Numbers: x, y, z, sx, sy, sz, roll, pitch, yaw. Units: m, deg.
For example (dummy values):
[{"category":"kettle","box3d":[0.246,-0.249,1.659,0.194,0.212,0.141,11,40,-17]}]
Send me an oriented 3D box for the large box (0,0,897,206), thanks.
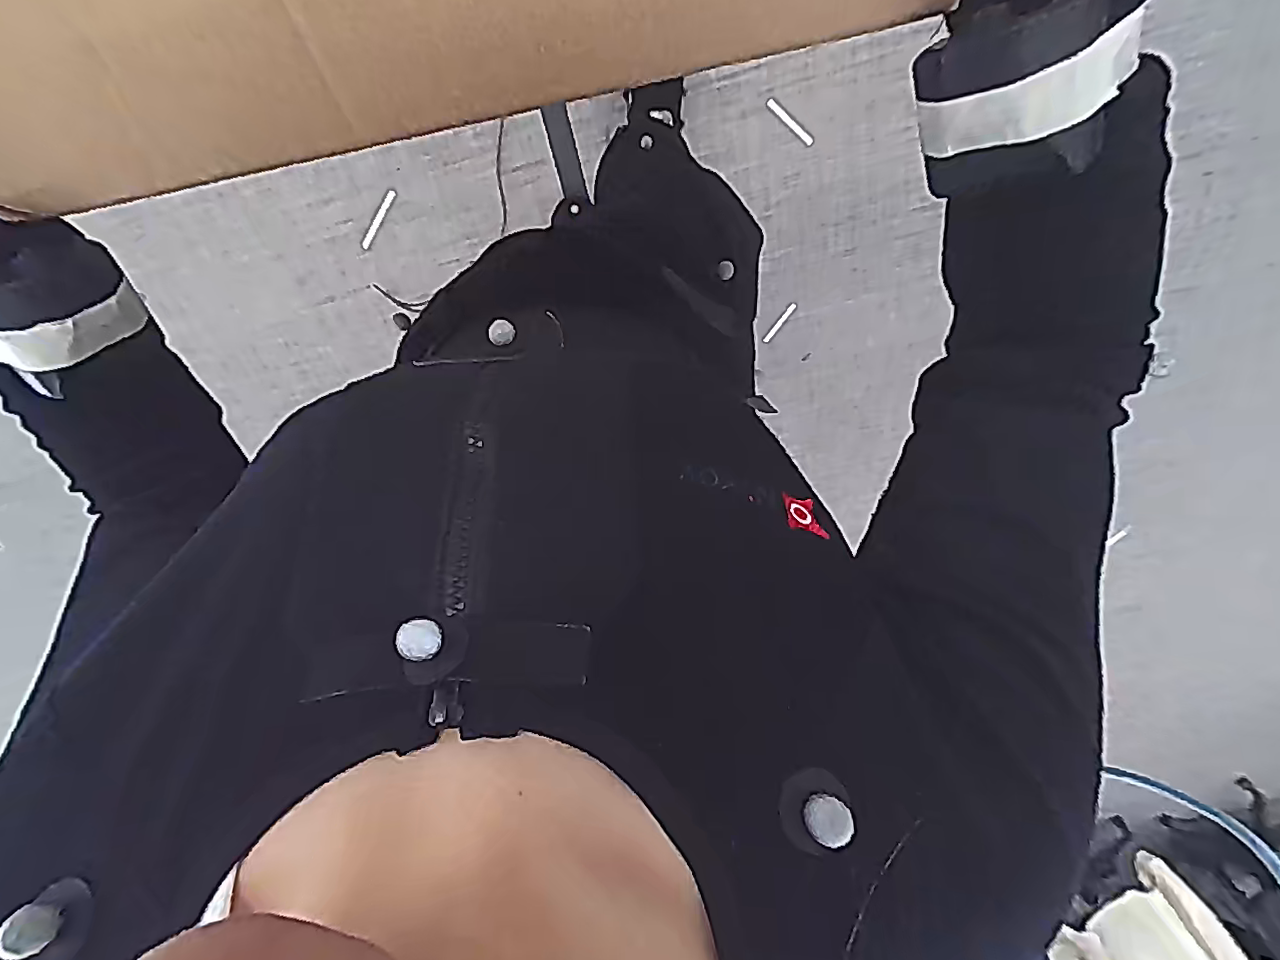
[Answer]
[{"category":"large box","box3d":[-0.117,-0.364,0.195,0.408,0.320,0.320,-9,142,4]}]
